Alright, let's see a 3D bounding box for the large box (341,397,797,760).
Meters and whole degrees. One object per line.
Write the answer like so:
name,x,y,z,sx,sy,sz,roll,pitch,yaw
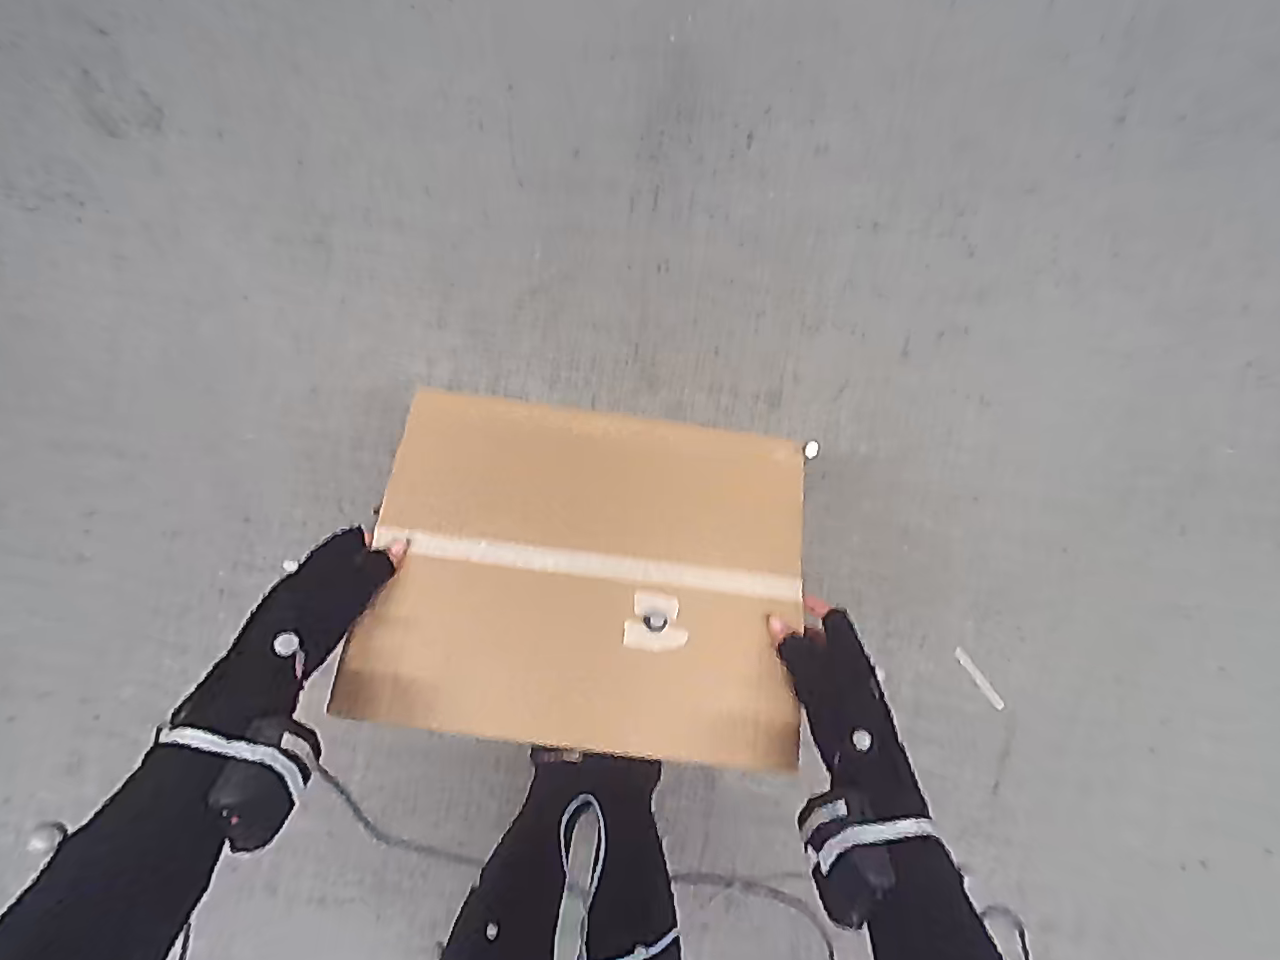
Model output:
large box,-0.058,0.130,0.657,0.408,0.320,0.320,8,71,-2
